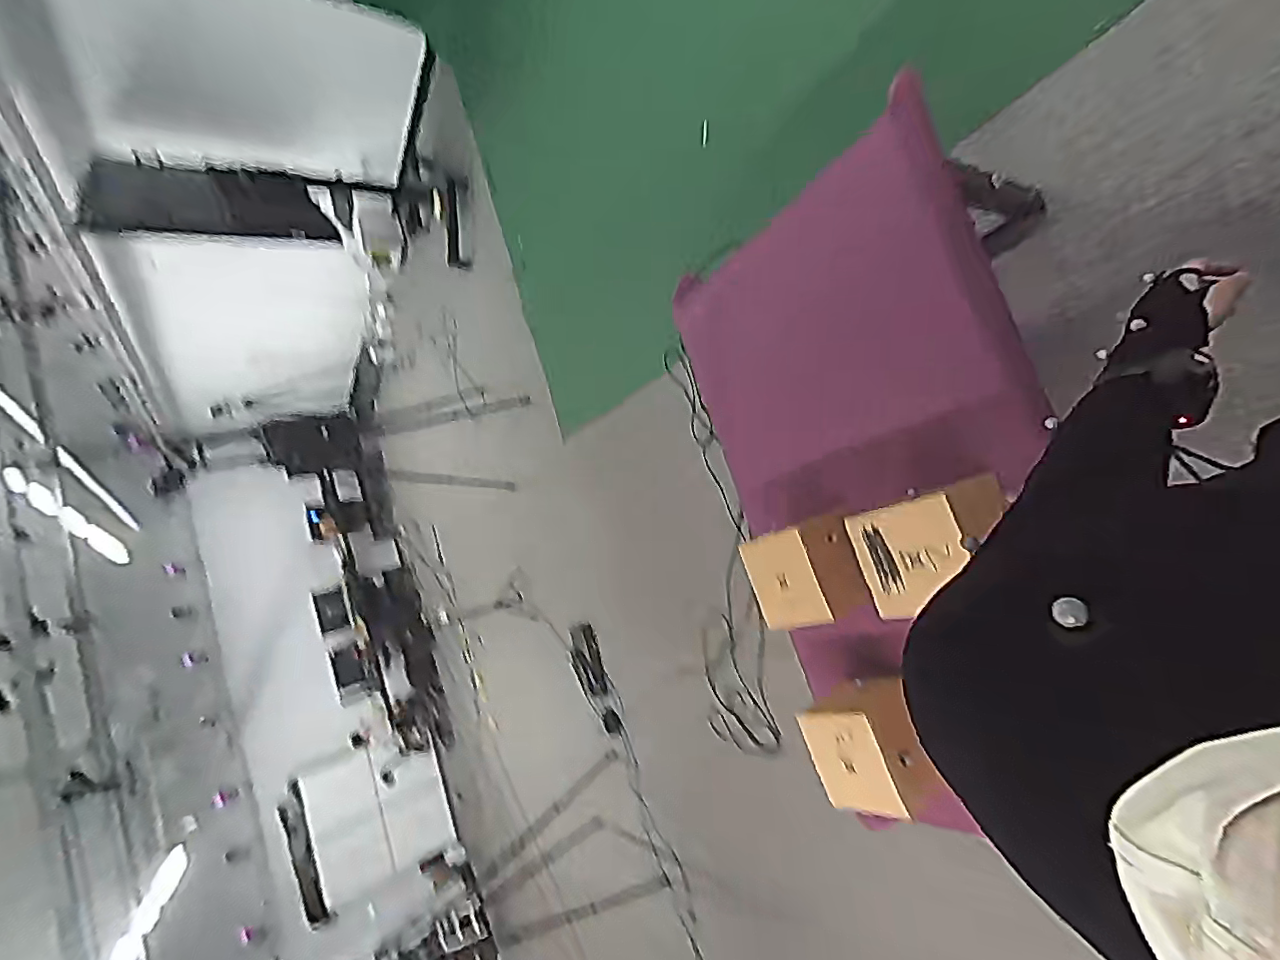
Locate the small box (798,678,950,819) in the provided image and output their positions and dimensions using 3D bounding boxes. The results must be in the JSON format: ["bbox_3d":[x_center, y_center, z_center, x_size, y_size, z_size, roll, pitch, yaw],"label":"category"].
[{"bbox_3d":[0.439,0.491,1.013,0.168,0.176,0.179,-34,72,52],"label":"small box"}]

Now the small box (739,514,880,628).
[{"bbox_3d":[0.332,0.174,1.064,0.168,0.176,0.179,-32,75,54],"label":"small box"}]
